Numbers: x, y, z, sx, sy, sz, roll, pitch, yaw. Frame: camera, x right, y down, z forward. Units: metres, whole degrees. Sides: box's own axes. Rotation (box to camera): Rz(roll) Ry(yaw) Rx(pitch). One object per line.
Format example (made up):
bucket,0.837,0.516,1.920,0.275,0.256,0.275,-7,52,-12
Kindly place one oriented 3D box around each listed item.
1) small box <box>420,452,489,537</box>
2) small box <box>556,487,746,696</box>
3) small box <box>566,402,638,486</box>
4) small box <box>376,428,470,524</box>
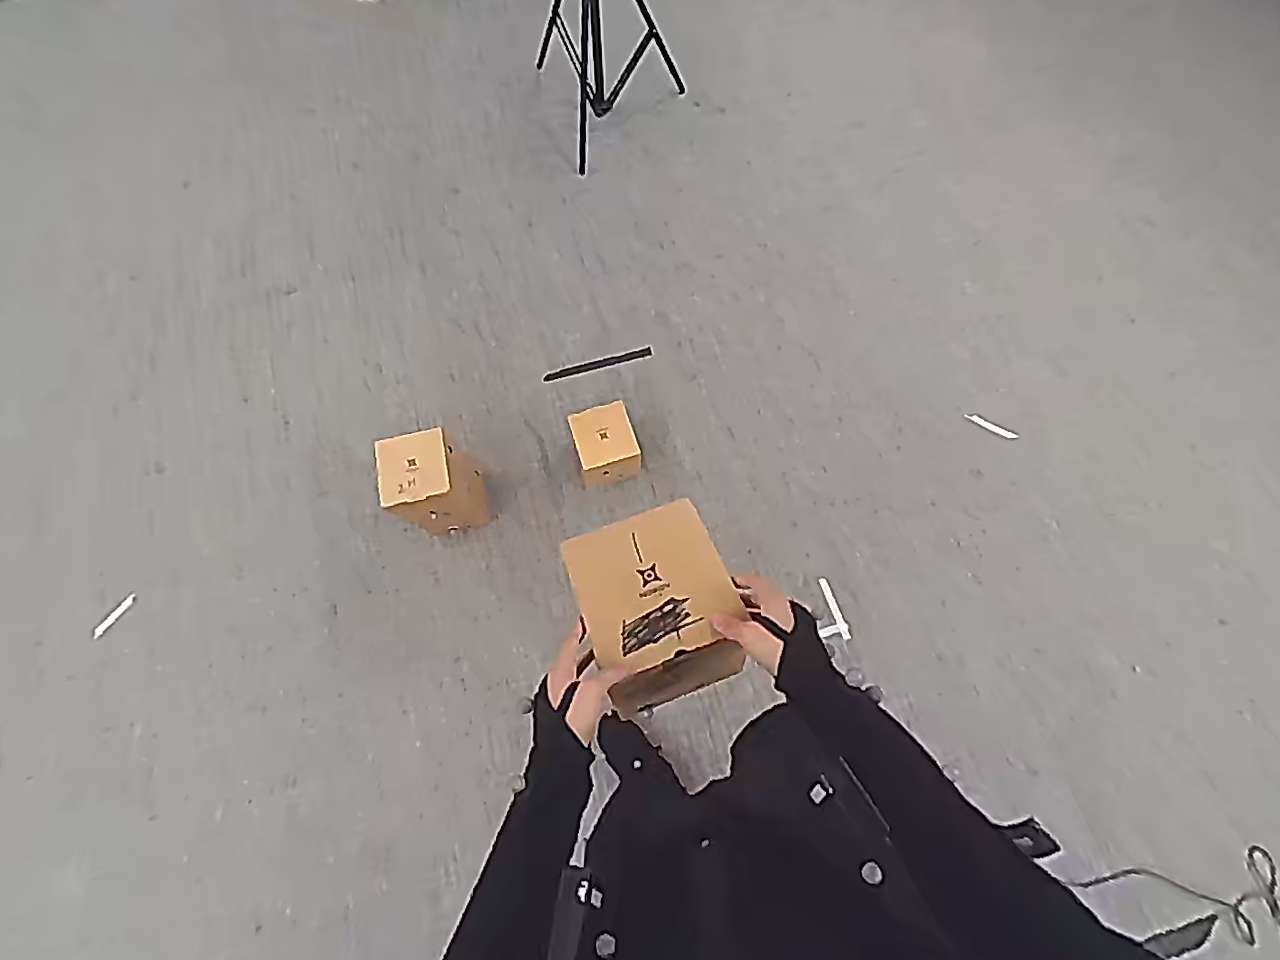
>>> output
small box,-0.536,0.044,1.523,0.168,0.176,0.179,-13,71,-3
small box,0.013,0.143,0.654,0.168,0.176,0.179,-19,56,-9
small box,-0.105,-0.095,1.576,0.168,0.176,0.179,-18,70,-6
small box,-0.543,-0.005,1.367,0.168,0.176,0.179,-13,71,-4
